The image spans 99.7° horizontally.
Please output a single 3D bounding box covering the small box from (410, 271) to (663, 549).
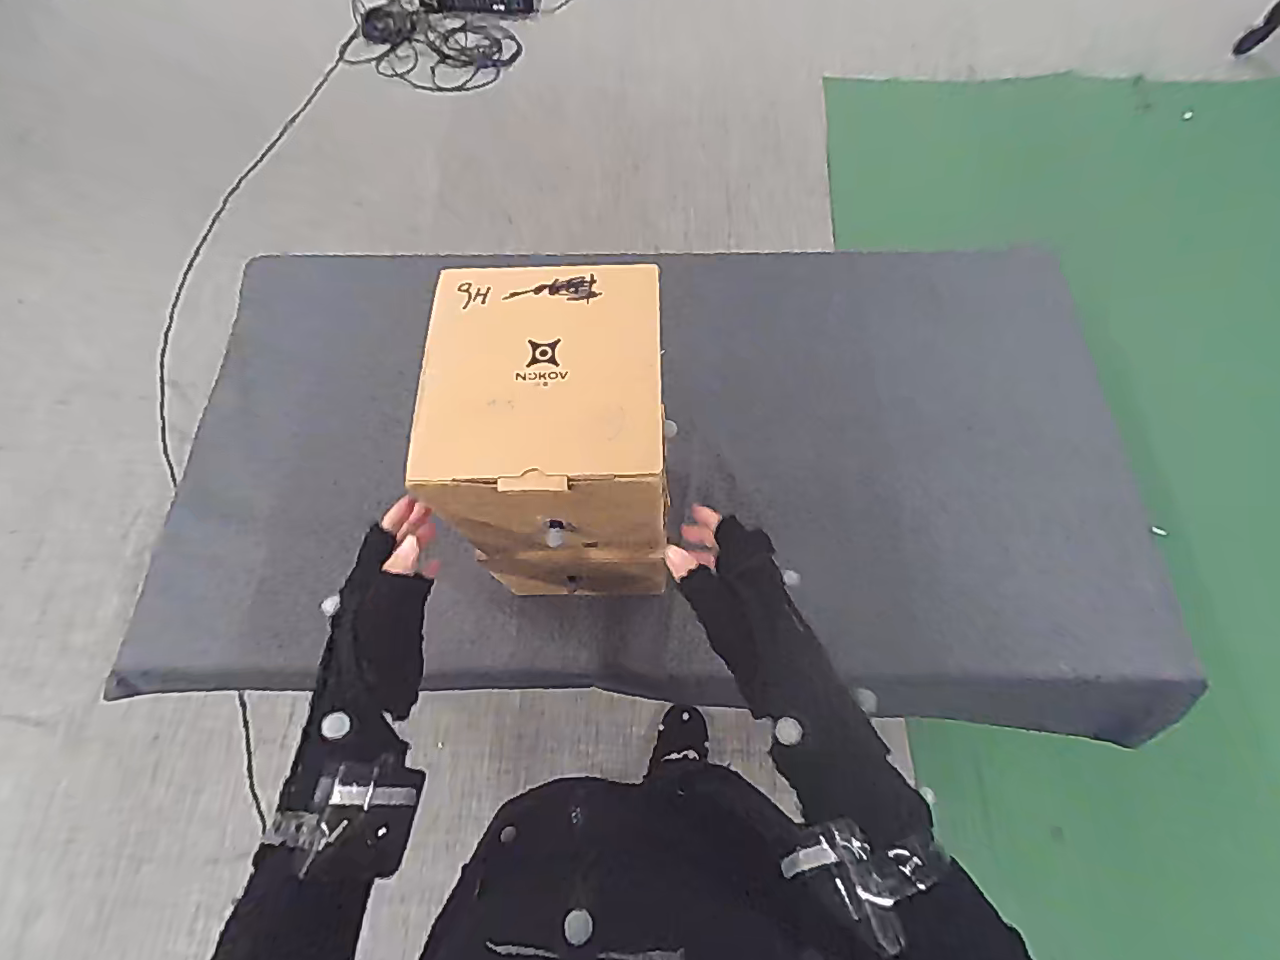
[{"bbox_3d":[-0.064,-0.044,0.446,0.168,0.176,0.179,-1,68,1],"label":"small box"}]

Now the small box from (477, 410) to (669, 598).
[{"bbox_3d":[-0.059,0.031,0.592,0.179,0.176,0.168,-1,67,2],"label":"small box"}]
